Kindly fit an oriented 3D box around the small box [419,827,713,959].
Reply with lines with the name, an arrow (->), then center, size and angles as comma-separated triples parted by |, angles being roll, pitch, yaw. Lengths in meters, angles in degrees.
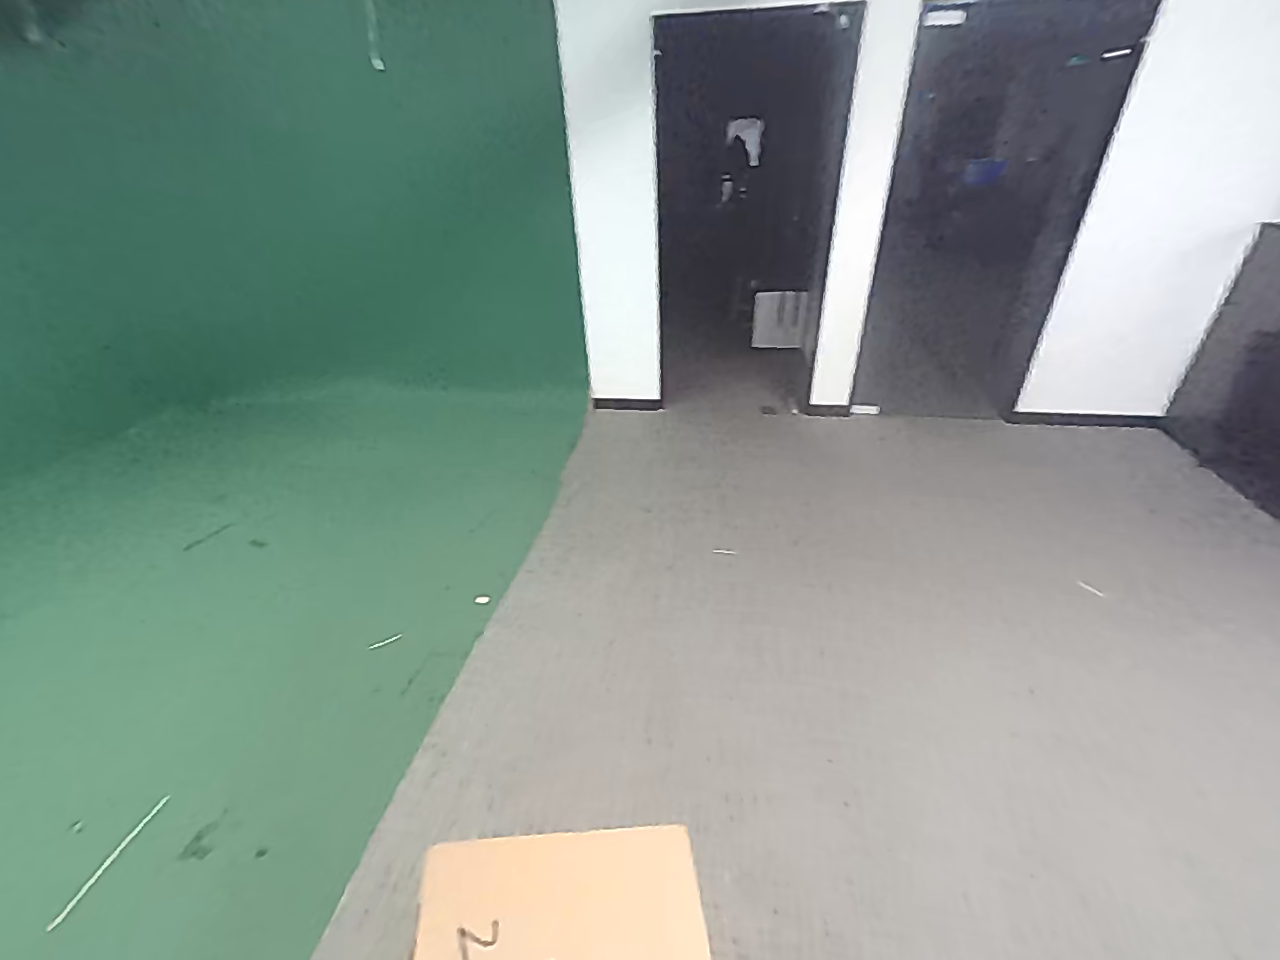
small box -> -0.055, 0.352, 0.351 | 0.179, 0.176, 0.168 | 5, 37, -14
